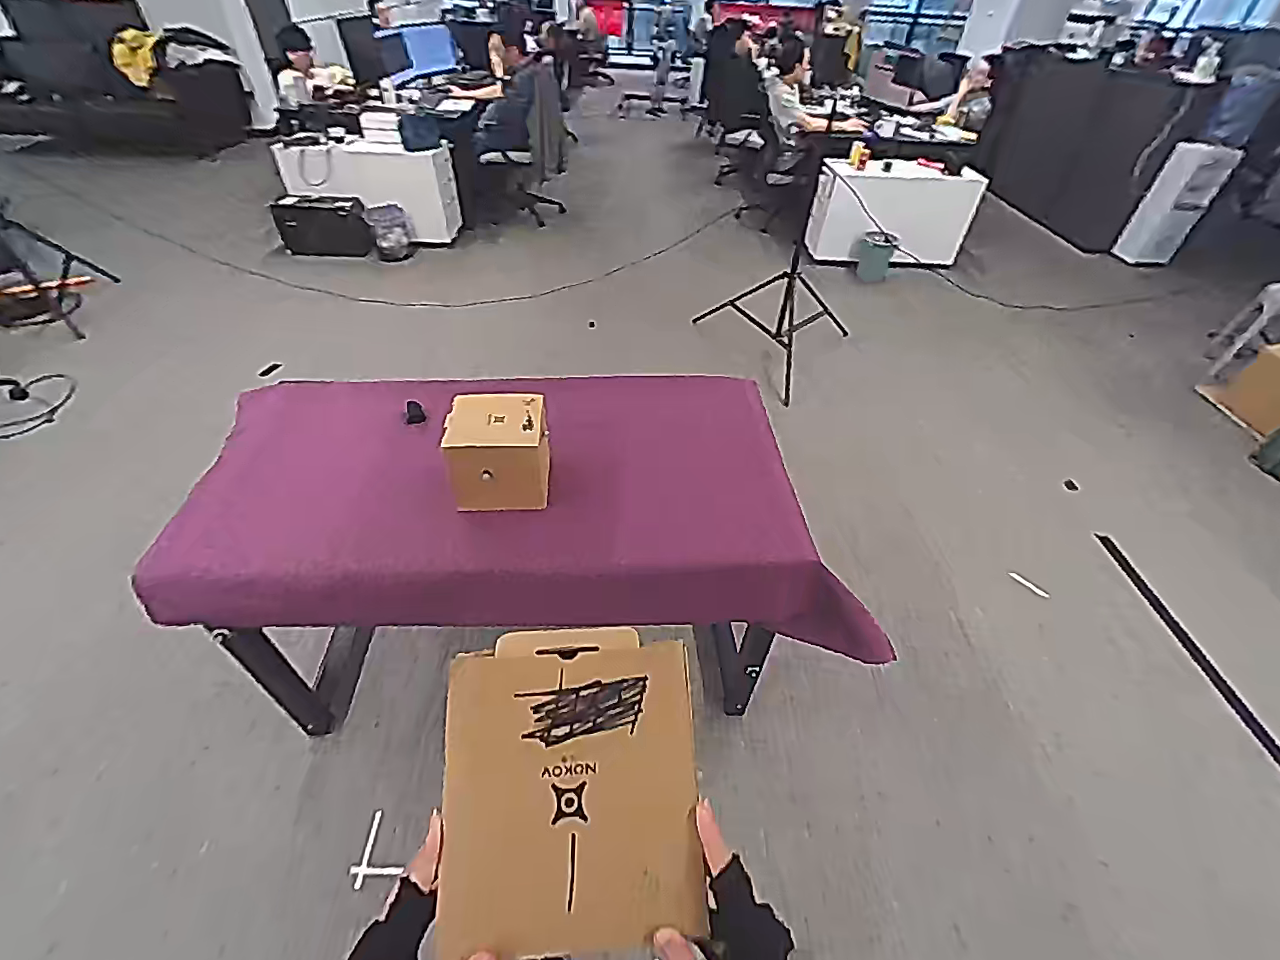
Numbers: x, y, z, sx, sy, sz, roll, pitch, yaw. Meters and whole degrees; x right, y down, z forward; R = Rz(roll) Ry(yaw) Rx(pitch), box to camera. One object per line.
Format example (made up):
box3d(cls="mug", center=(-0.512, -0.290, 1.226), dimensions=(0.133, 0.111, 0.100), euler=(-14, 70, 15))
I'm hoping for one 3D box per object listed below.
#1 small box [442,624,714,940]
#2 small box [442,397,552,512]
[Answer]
box3d(cls="small box", center=(-0.045, 0.219, 0.429), dimensions=(0.168, 0.176, 0.179), euler=(-3, 67, -4))
box3d(cls="small box", center=(-0.275, -0.050, 1.080), dimensions=(0.179, 0.176, 0.168), euler=(-2, 43, -4))
